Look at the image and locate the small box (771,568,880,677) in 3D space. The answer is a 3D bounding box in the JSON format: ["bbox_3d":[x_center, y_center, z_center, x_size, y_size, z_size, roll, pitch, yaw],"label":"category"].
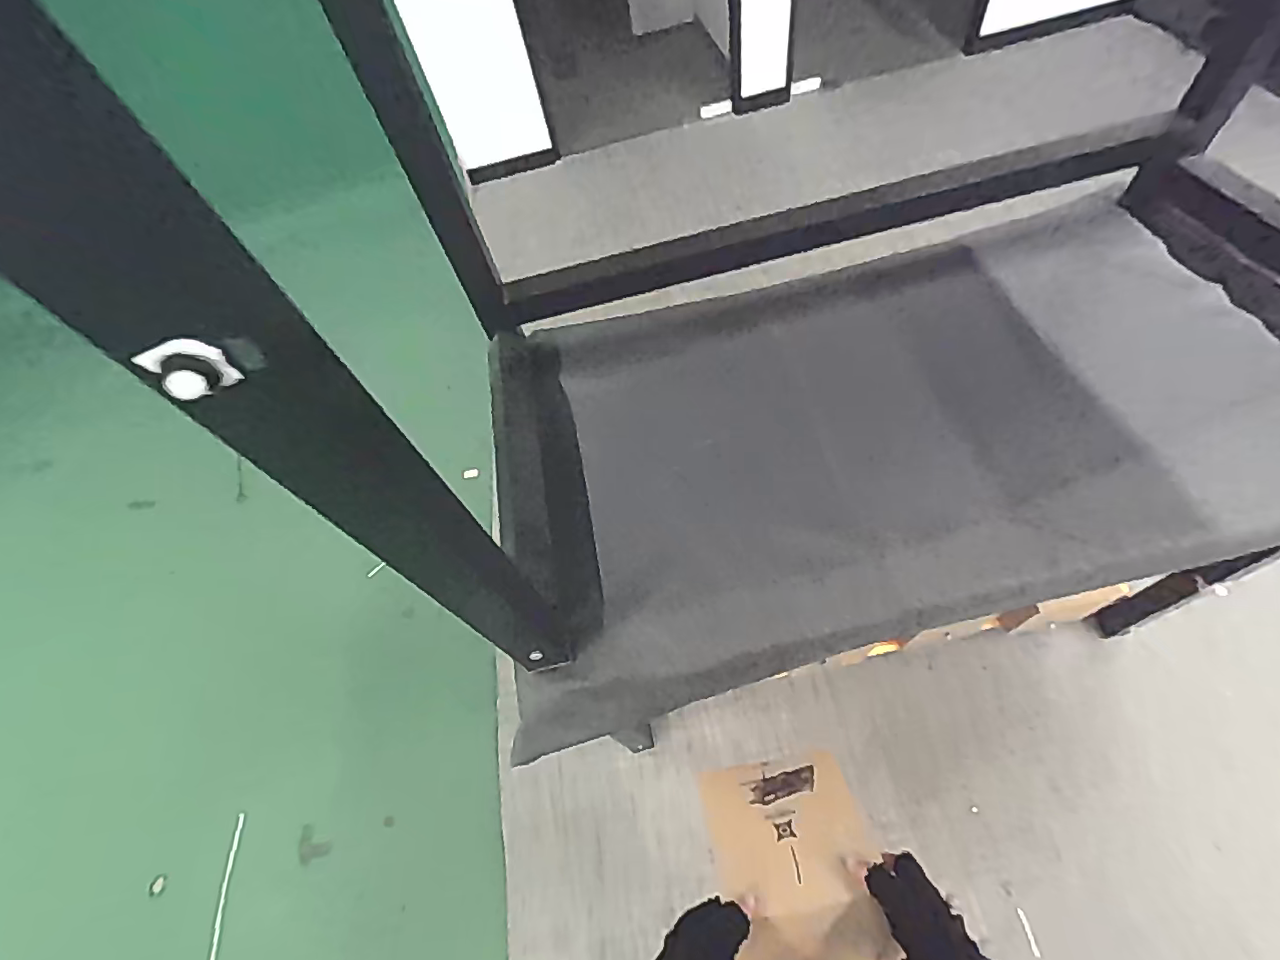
[{"bbox_3d":[0.392,0.317,1.172,0.168,0.176,0.179,-12,57,1],"label":"small box"}]
